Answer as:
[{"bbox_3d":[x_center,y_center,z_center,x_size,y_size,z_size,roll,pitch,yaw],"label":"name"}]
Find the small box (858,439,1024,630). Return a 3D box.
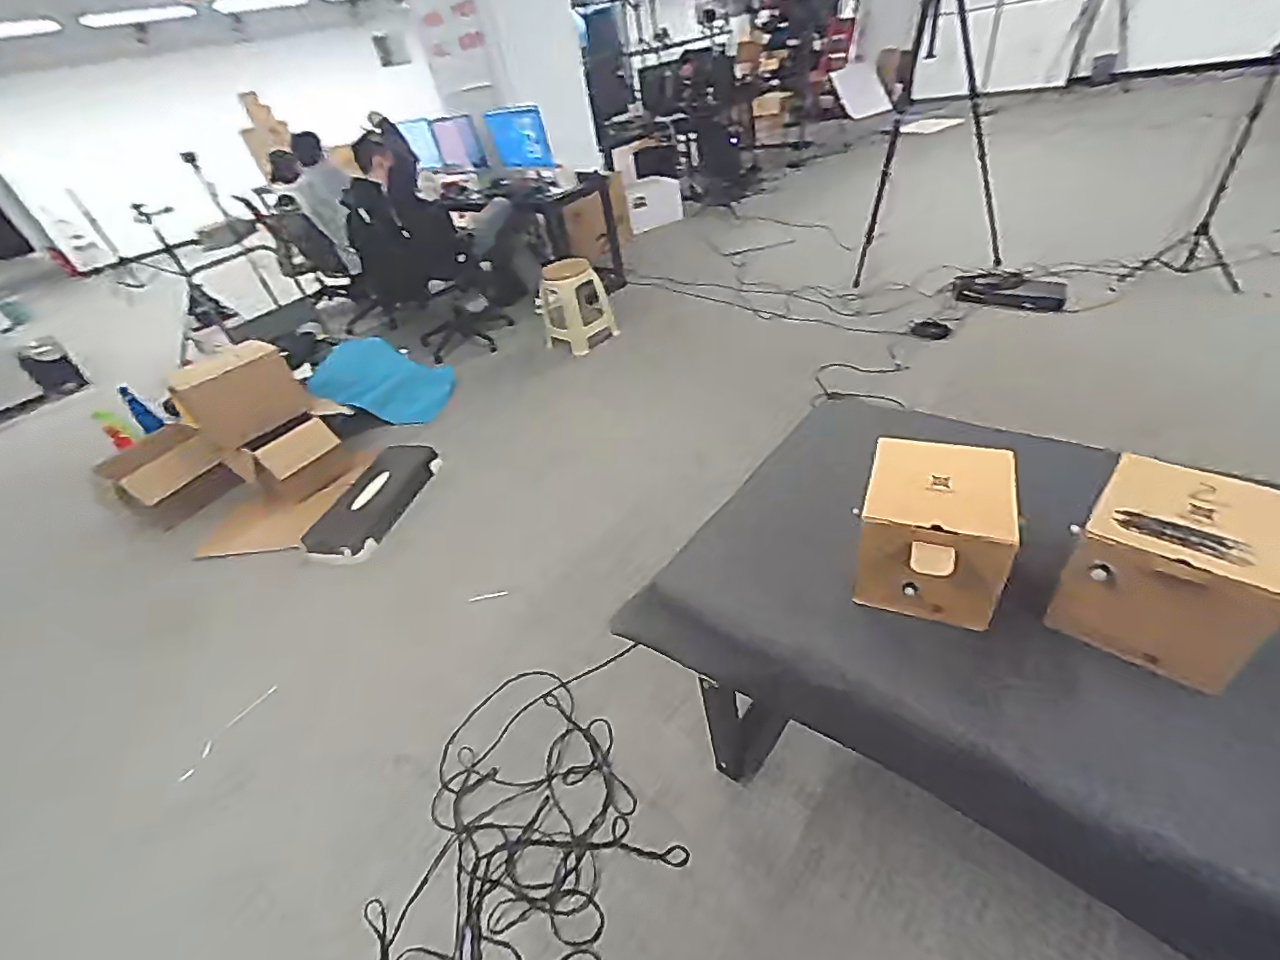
[{"bbox_3d":[0.401,0.069,0.737,0.168,0.176,0.179,9,43,25],"label":"small box"}]
